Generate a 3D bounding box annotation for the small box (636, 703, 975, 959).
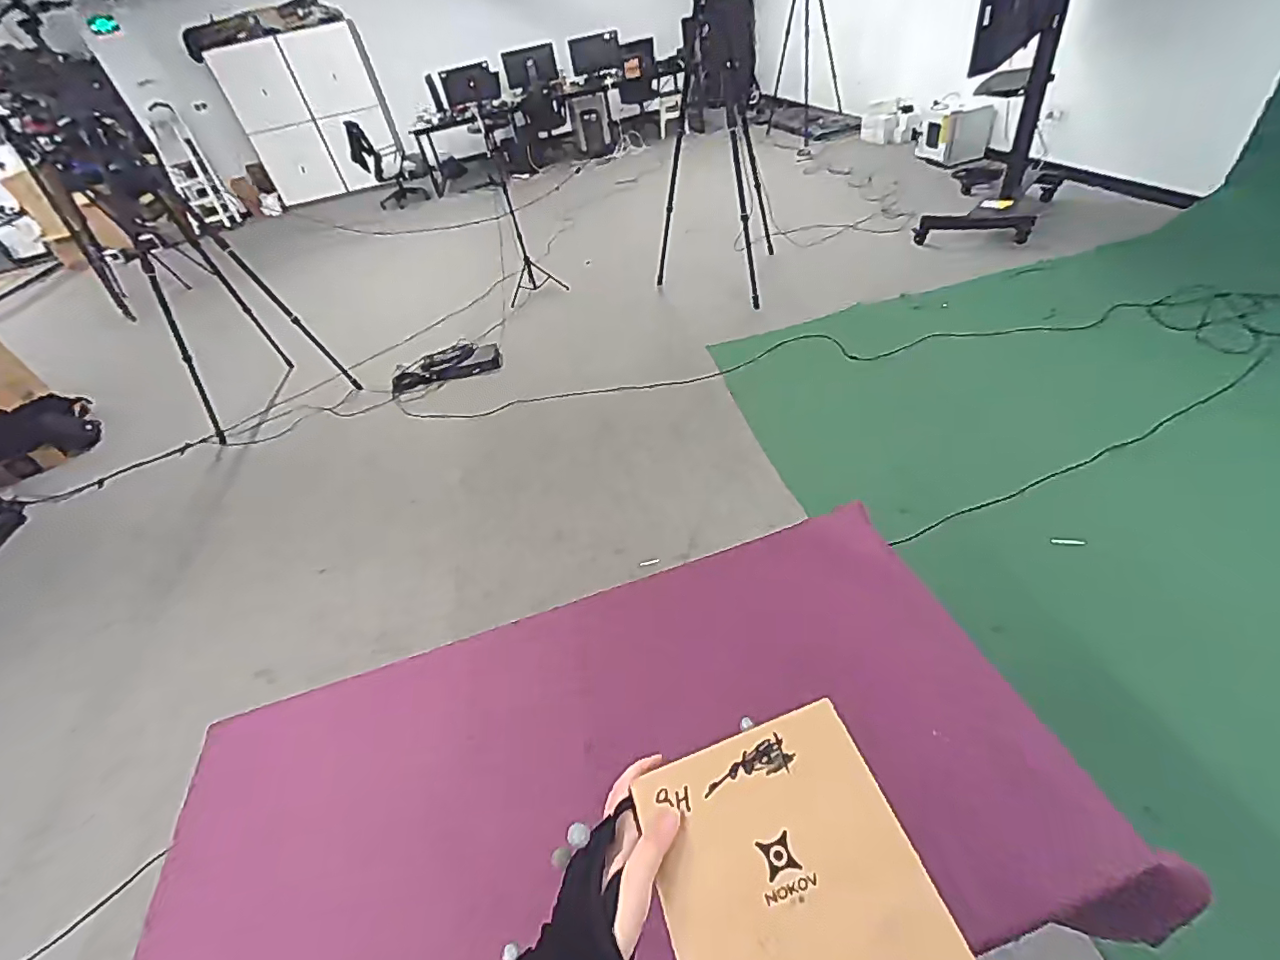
[{"bbox_3d":[0.115,0.304,0.411,0.168,0.176,0.179,-22,49,-2],"label":"small box"}]
